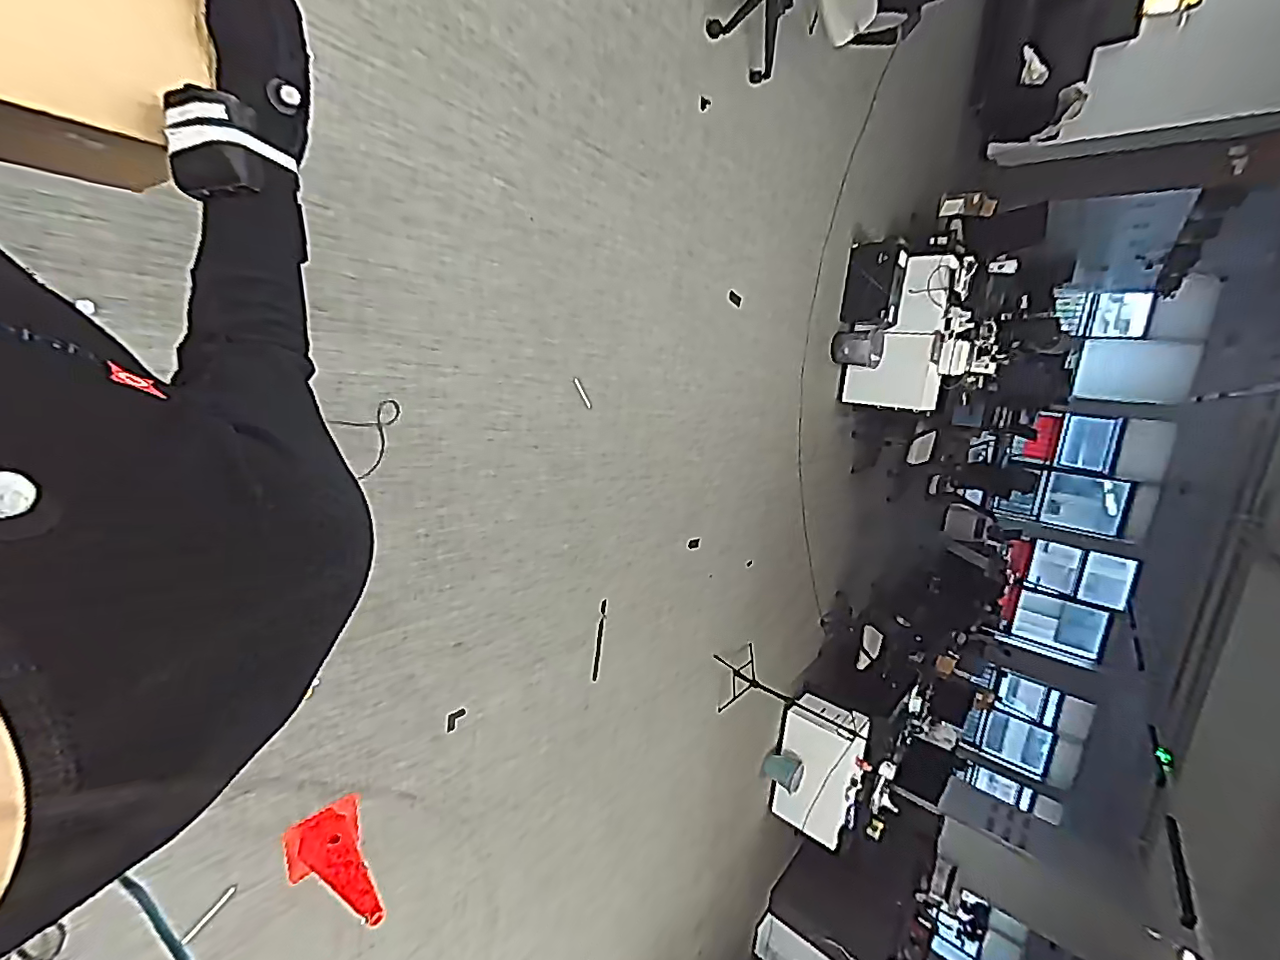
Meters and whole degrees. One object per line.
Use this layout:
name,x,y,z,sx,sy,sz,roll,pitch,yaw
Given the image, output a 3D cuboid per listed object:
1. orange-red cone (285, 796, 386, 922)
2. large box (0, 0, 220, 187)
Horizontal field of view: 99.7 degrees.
orange-red cone,-0.820,1.105,1.518,0.198,0.360,0.199,-11,109,-50
large box,-0.556,-0.413,0.328,0.408,0.320,0.320,-10,112,-51
